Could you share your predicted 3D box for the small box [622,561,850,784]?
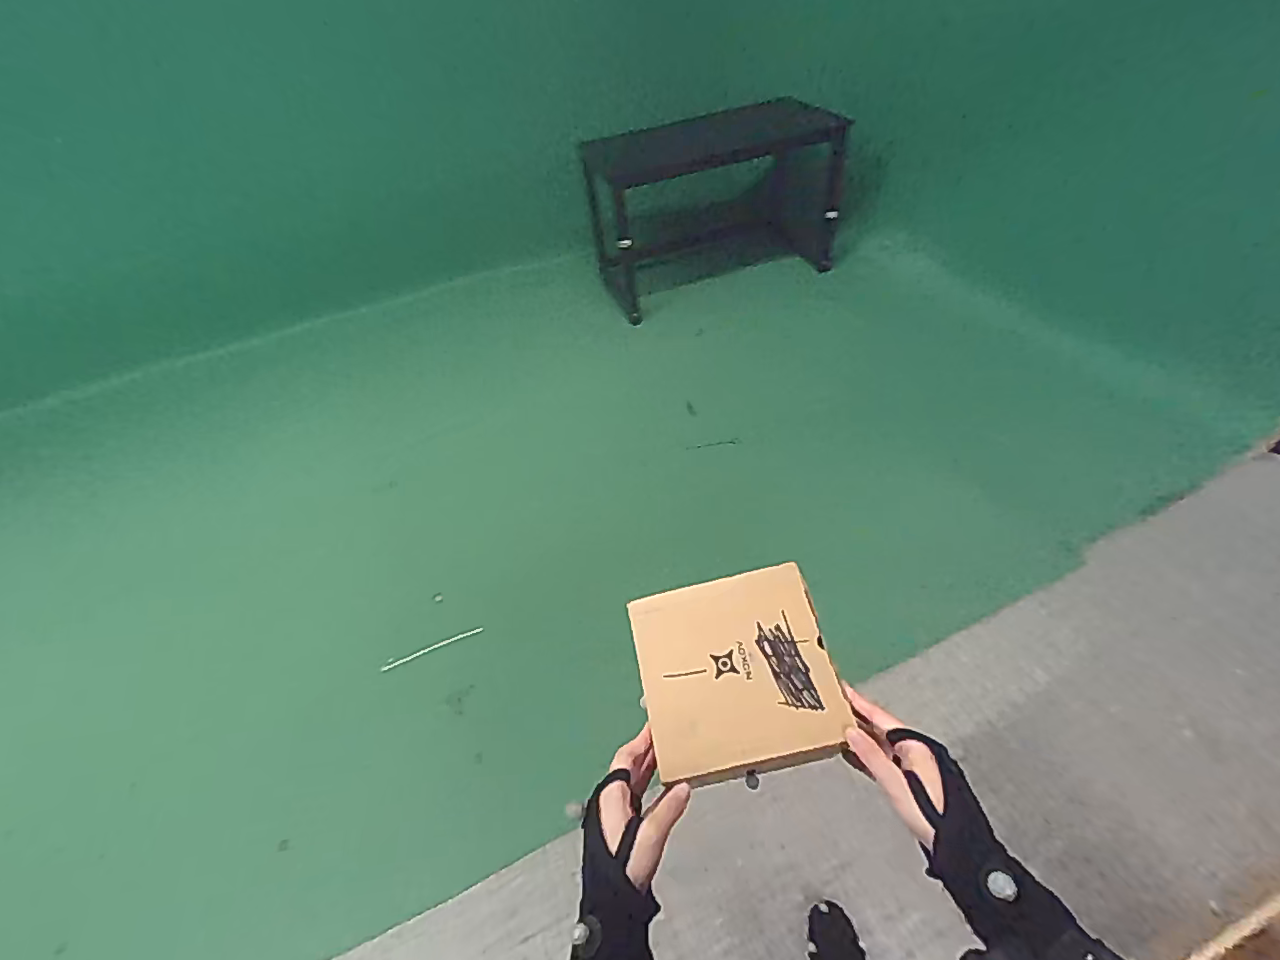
[{"bbox_3d":[0.090,0.206,0.563,0.179,0.176,0.168,-14,57,2],"label":"small box"}]
